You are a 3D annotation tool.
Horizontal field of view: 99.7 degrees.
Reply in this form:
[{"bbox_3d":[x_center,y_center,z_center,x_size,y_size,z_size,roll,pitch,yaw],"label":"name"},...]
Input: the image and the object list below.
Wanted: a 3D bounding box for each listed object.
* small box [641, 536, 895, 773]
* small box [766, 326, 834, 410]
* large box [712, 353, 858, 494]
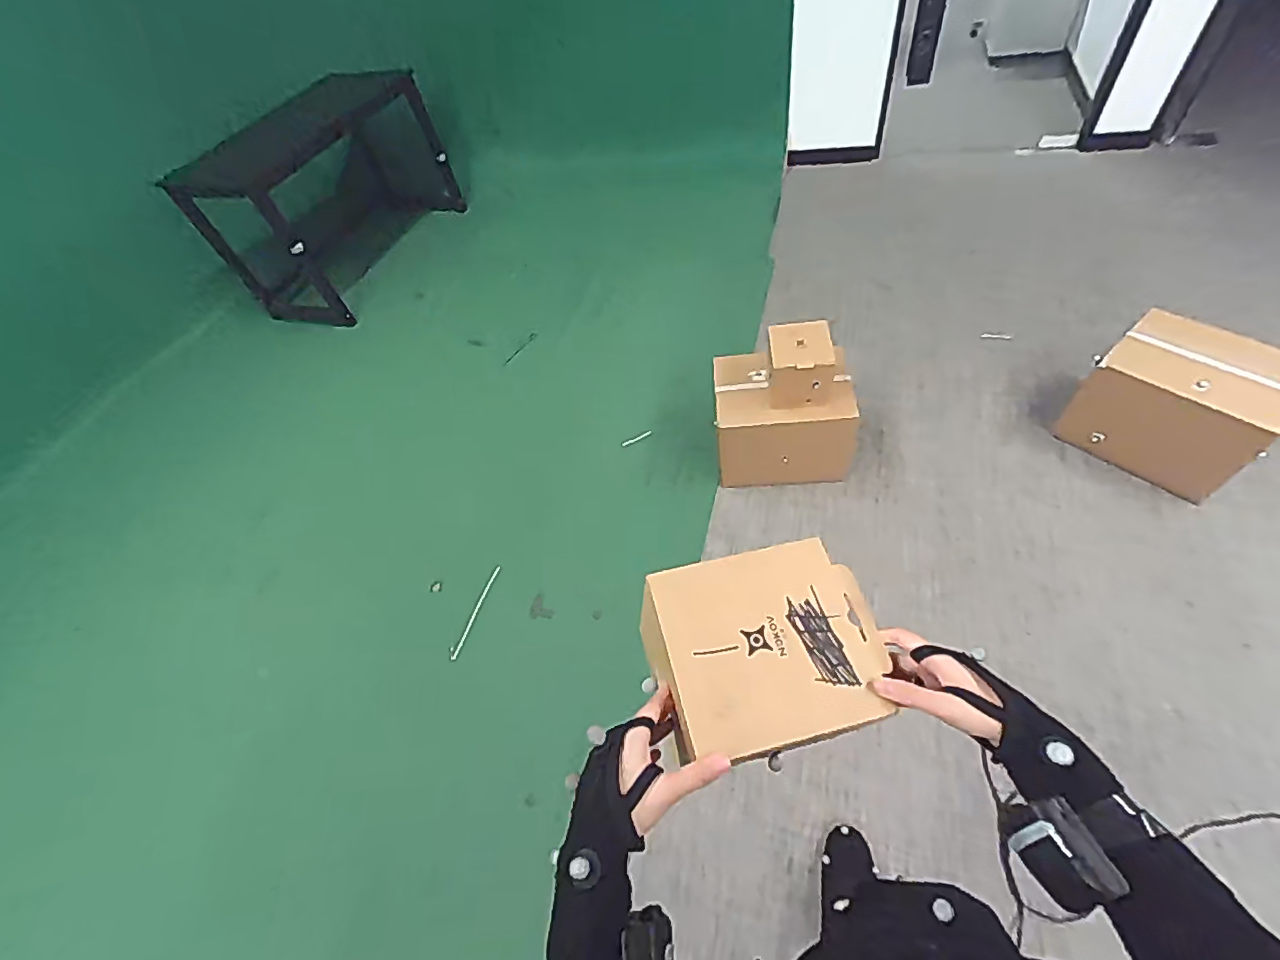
[{"bbox_3d":[0.105,0.177,0.534,0.179,0.176,0.168,-10,59,-9],"label":"small box"},{"bbox_3d":[0.455,-0.315,1.556,0.168,0.176,0.179,-3,53,9],"label":"small box"},{"bbox_3d":[0.455,-0.175,1.764,0.408,0.320,0.320,-5,51,10],"label":"large box"}]
